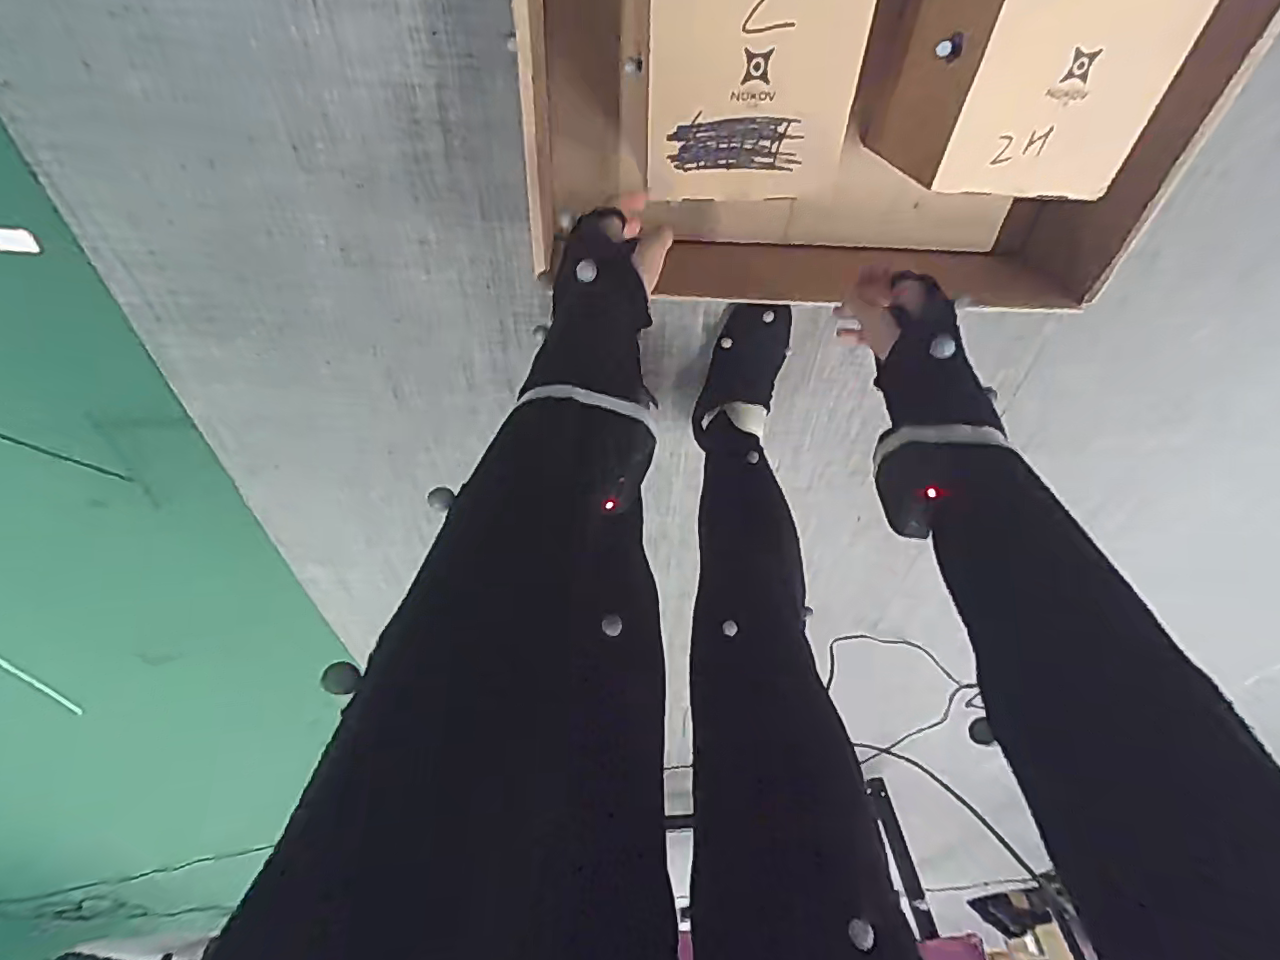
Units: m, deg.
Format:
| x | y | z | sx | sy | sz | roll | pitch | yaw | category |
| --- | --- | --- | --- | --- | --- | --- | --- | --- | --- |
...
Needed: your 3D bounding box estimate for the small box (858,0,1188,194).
| x | y | z | sx | sy | sz | roll | pitch | yaw | category |
| --- | --- | --- | --- | --- | --- | --- | --- | --- | --- |
| 0.325 | -0.385 | 0.493 | 0.168 | 0.176 | 0.179 | 1 | 135 | -4 | small box |
